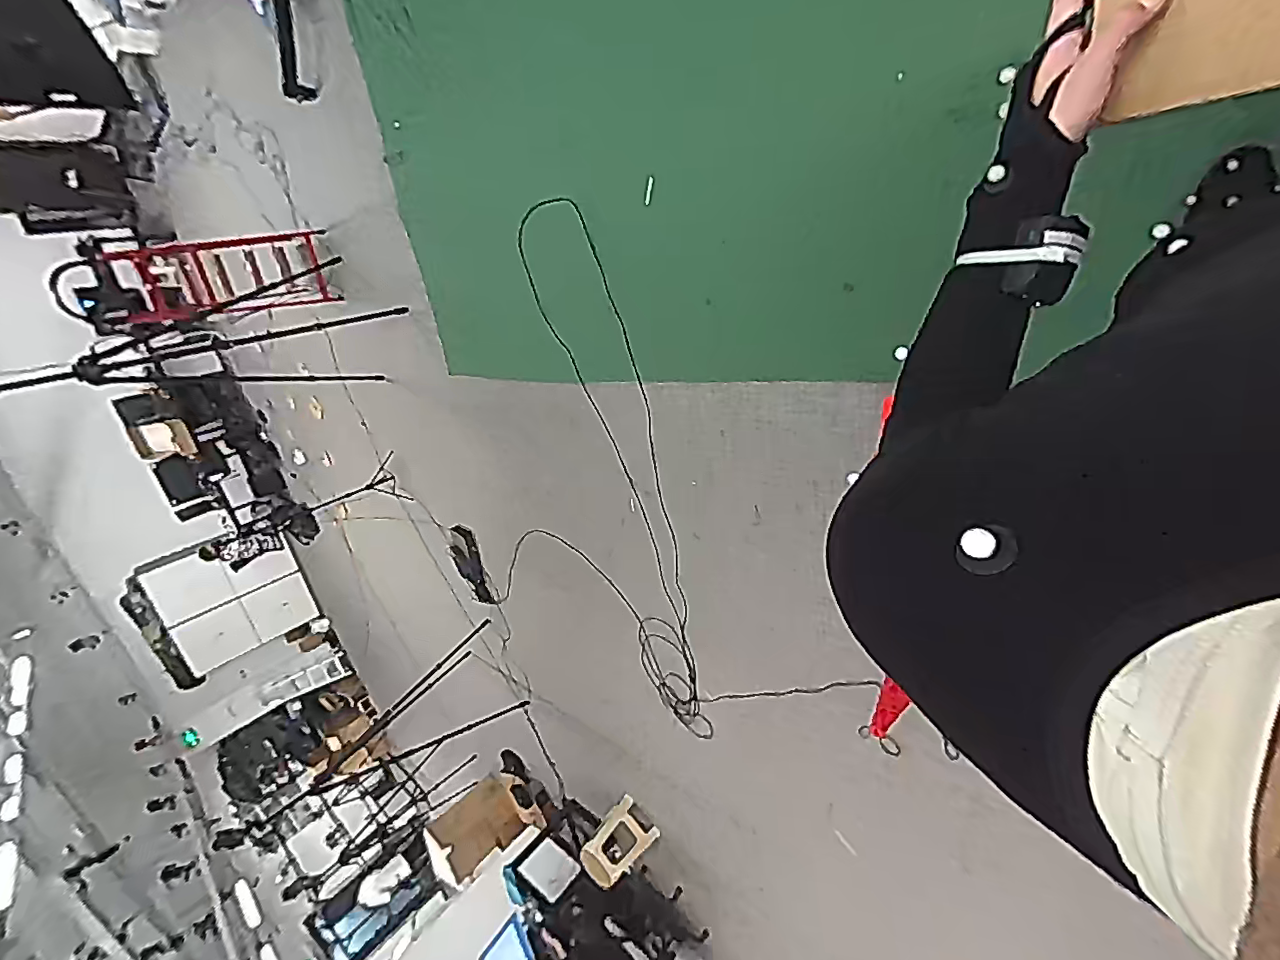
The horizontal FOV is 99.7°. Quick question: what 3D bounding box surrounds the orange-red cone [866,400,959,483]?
[{"bbox_3d":[0.710,-0.071,1.496,0.199,0.360,0.198,18,124,39],"label":"orange-red cone"}]
